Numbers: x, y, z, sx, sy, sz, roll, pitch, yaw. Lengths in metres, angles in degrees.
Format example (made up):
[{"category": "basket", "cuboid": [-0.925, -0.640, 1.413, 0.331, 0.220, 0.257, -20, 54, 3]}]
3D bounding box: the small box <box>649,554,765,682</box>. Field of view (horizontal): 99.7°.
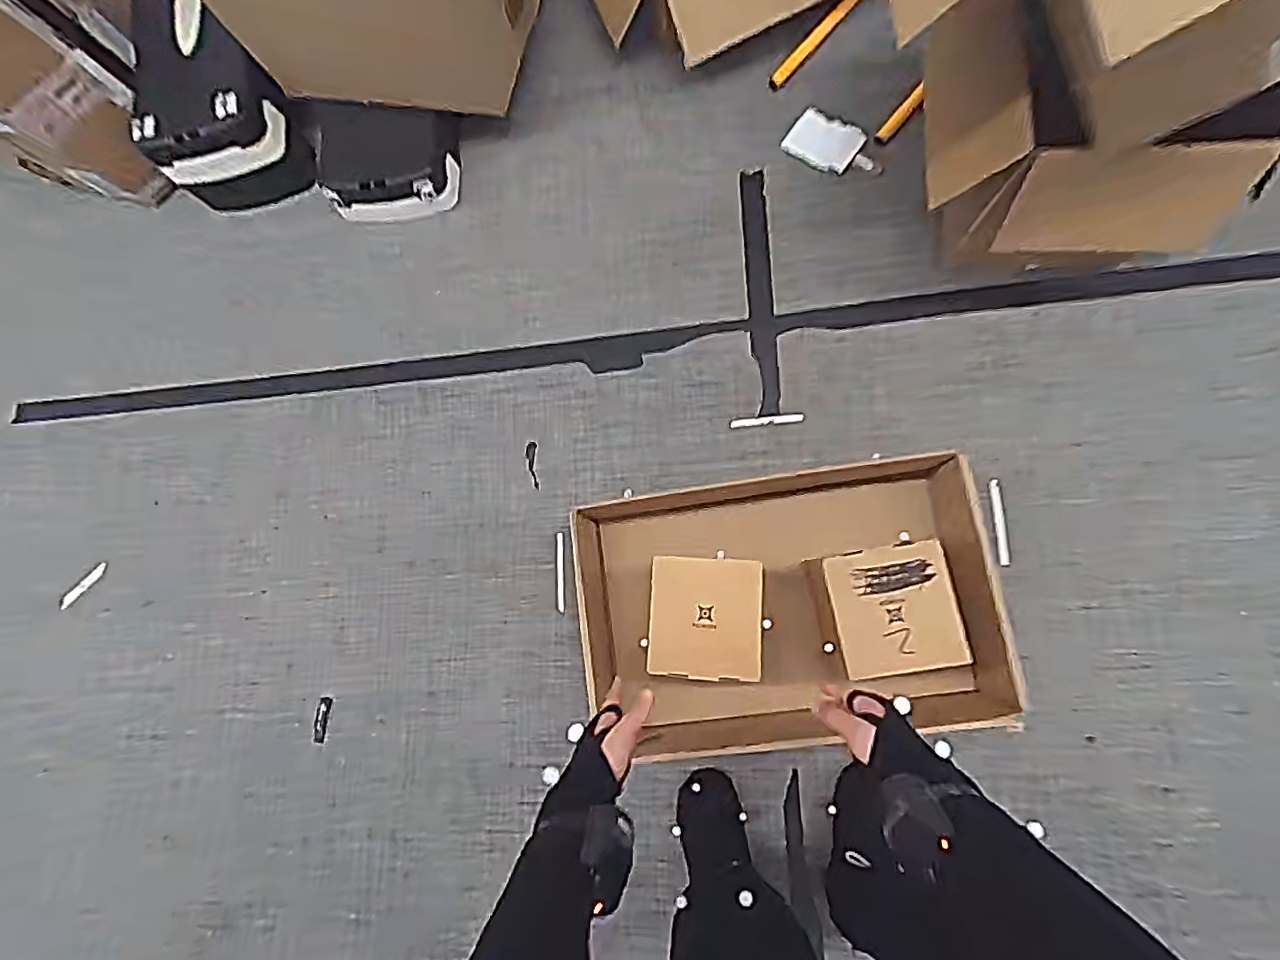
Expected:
[{"category": "small box", "cuboid": [0.106, 0.213, 0.868, 0.168, 0.176, 0.179, 1, 81, 7]}]
